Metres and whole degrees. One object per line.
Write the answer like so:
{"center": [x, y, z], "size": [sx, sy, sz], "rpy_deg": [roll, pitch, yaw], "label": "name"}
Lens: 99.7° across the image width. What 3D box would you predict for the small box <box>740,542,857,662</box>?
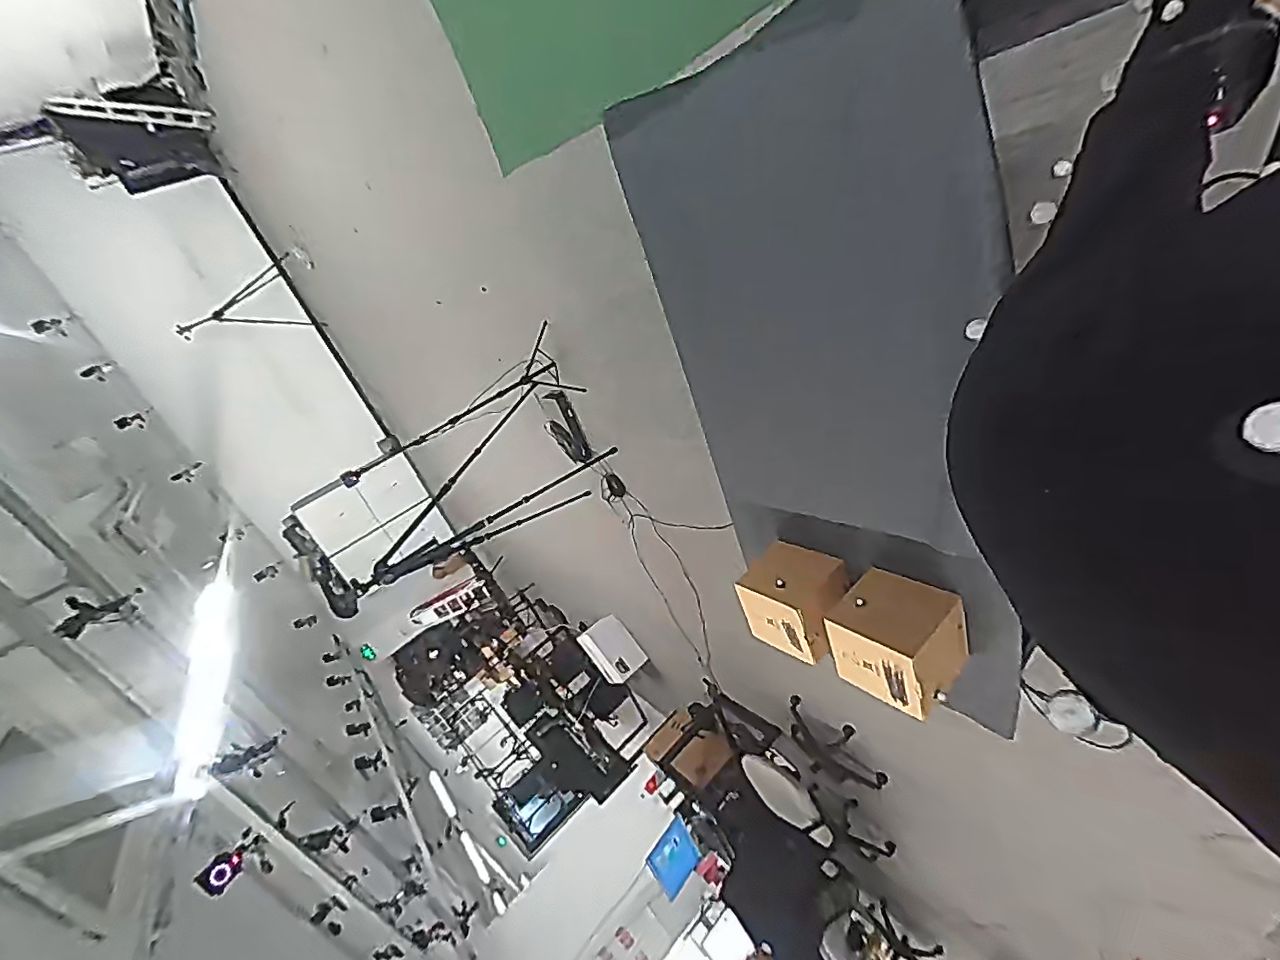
{"center": [0.359, 0.260, 1.200], "size": [0.179, 0.176, 0.168], "rpy_deg": [15, 134, 53], "label": "small box"}
